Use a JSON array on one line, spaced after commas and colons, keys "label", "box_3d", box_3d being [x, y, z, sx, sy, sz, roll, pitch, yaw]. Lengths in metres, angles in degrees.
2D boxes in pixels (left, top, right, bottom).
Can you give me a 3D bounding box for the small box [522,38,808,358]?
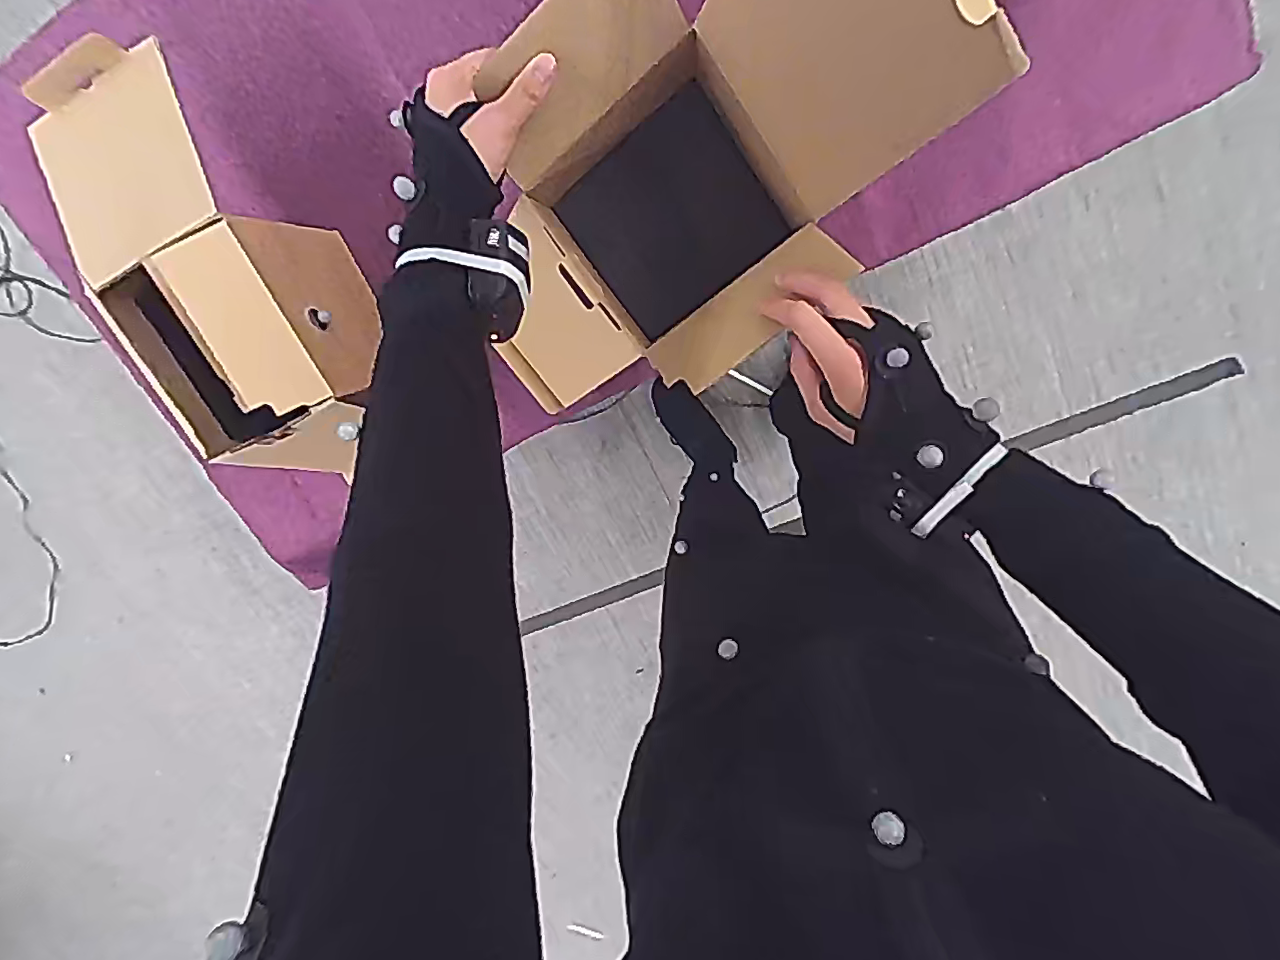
[{"label": "small box", "box_3d": [0.026, -0.238, 0.505, 0.179, 0.176, 0.168, -35, 103, 15]}]
